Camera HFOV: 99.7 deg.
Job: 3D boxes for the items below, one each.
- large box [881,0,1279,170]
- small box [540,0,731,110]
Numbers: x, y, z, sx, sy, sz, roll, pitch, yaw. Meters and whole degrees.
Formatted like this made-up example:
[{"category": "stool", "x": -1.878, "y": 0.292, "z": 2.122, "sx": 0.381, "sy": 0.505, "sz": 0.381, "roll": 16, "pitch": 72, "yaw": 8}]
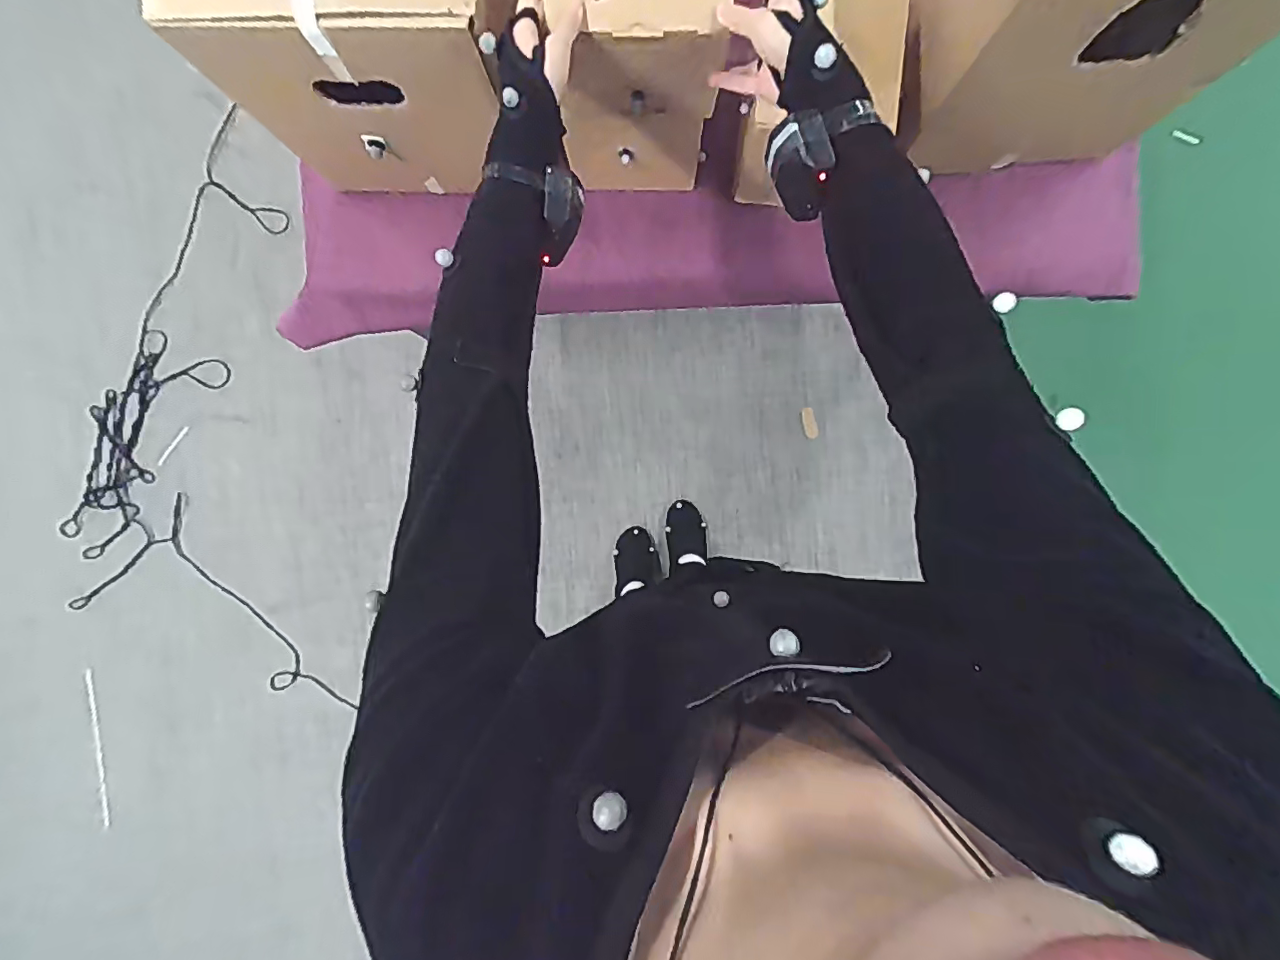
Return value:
[{"category": "large box", "x": 0.490, "y": -0.647, "z": 0.618, "sx": 0.320, "sy": 0.320, "sz": 0.408, "roll": -4, "pitch": 91, "yaw": 4}, {"category": "small box", "x": -0.001, "y": -0.495, "z": 0.523, "sx": 0.168, "sy": 0.176, "sz": 0.179, "roll": 1, "pitch": 102, "yaw": 2}]
